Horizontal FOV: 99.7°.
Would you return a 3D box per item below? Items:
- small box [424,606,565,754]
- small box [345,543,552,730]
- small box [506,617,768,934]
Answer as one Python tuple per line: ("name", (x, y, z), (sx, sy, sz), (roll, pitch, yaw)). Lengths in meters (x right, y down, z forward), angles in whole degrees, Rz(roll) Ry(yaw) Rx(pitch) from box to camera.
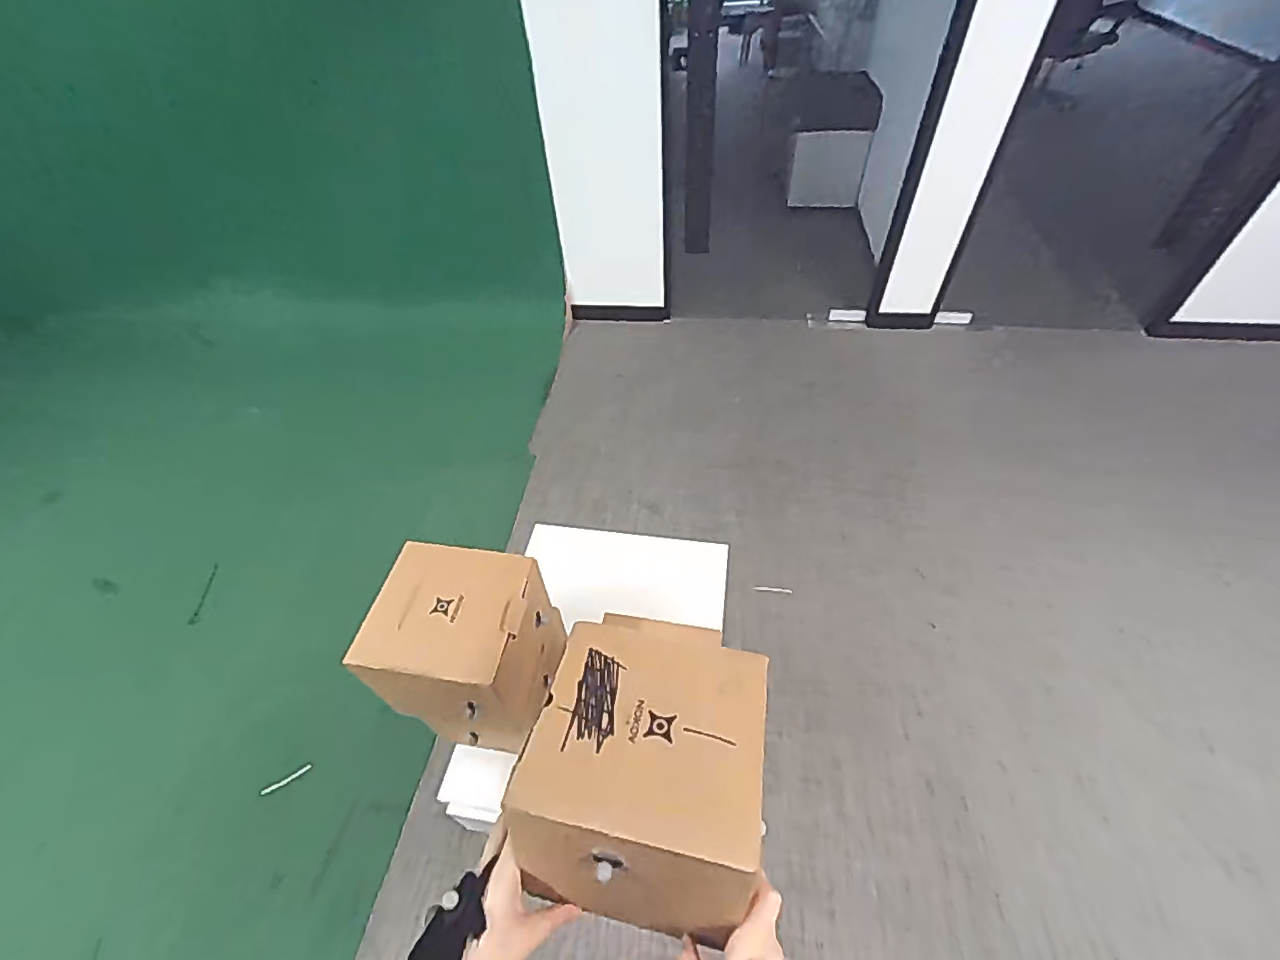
("small box", (-0.215, 0.297, 0.821), (0.168, 0.176, 0.179), (7, 50, 7))
("small box", (-0.222, 0.202, 0.689), (0.179, 0.176, 0.168), (5, 48, 8))
("small box", (0.008, 0.249, 0.466), (0.179, 0.176, 0.168), (9, 36, 10))
